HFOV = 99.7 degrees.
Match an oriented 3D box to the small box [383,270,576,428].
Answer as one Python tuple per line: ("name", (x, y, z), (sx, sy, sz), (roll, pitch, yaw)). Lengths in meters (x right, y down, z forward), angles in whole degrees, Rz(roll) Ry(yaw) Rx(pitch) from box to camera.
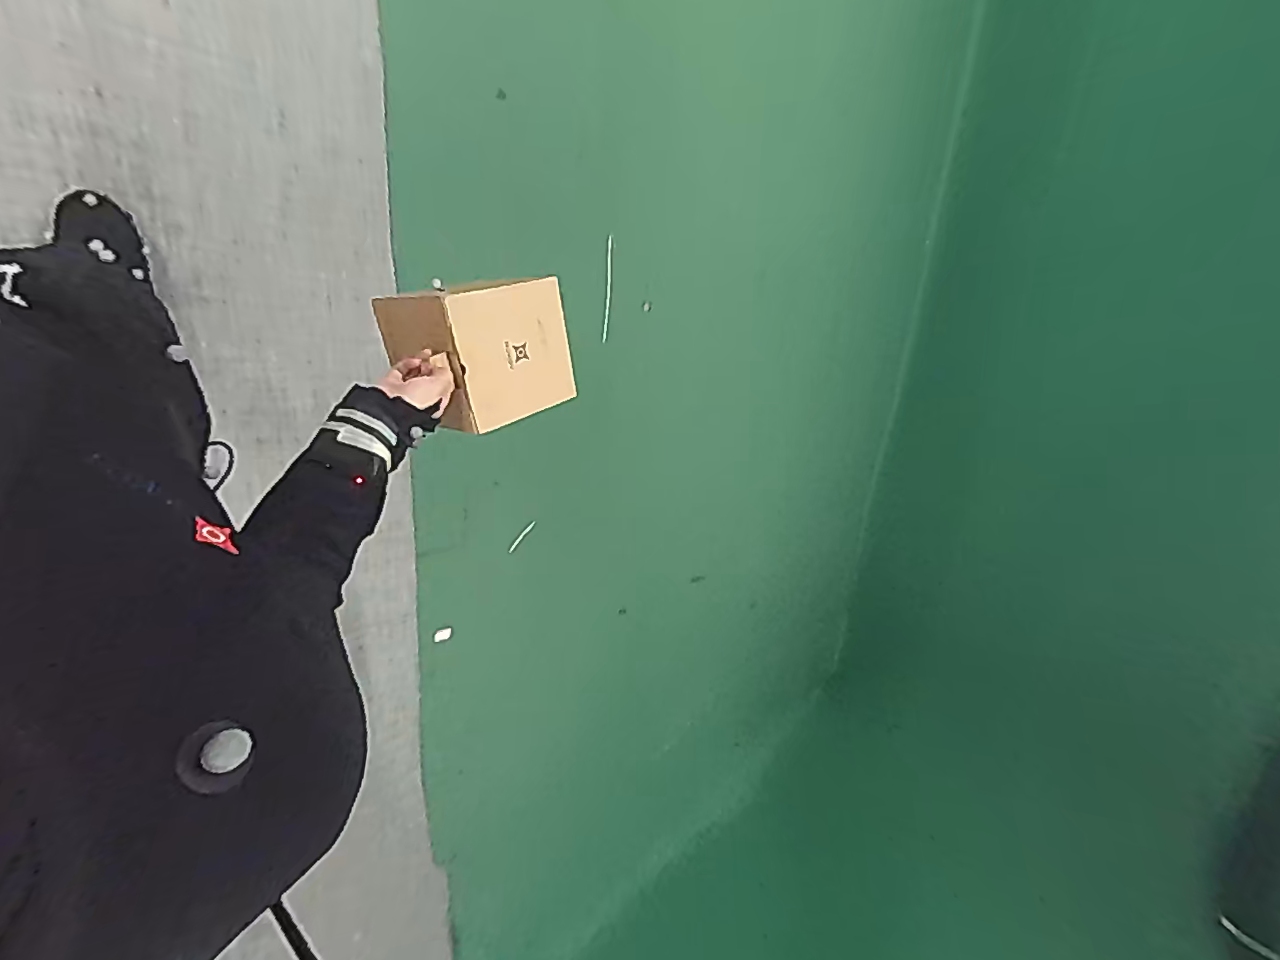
("small box", (-0.217, -0.182, 0.729), (0.179, 0.176, 0.168), (-35, 127, -43))
